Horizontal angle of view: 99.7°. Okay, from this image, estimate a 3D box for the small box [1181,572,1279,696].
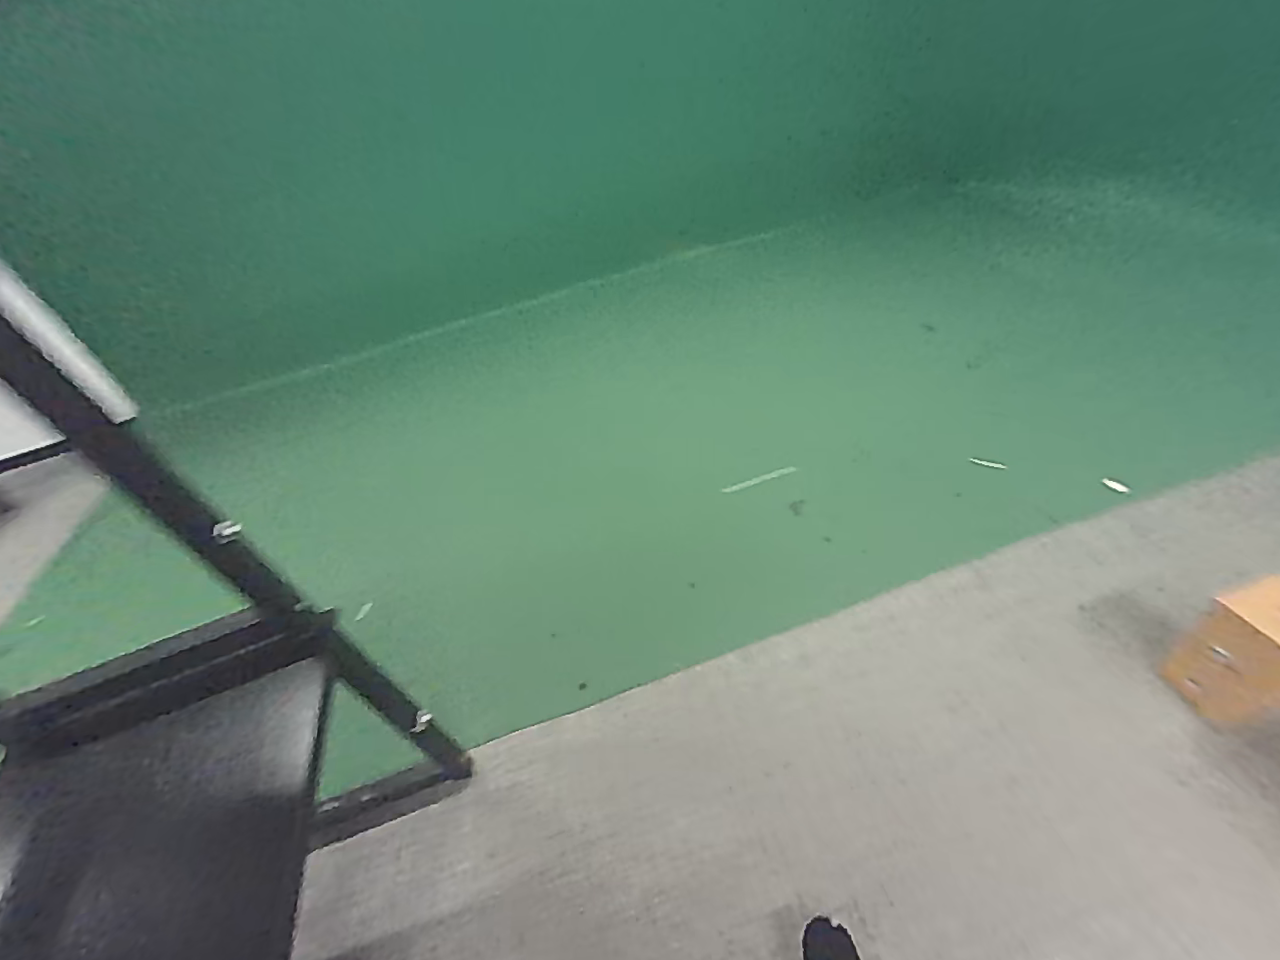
[{"bbox_3d":[1.353,0.335,1.172,0.179,0.176,0.168,-19,41,-3],"label":"small box"}]
